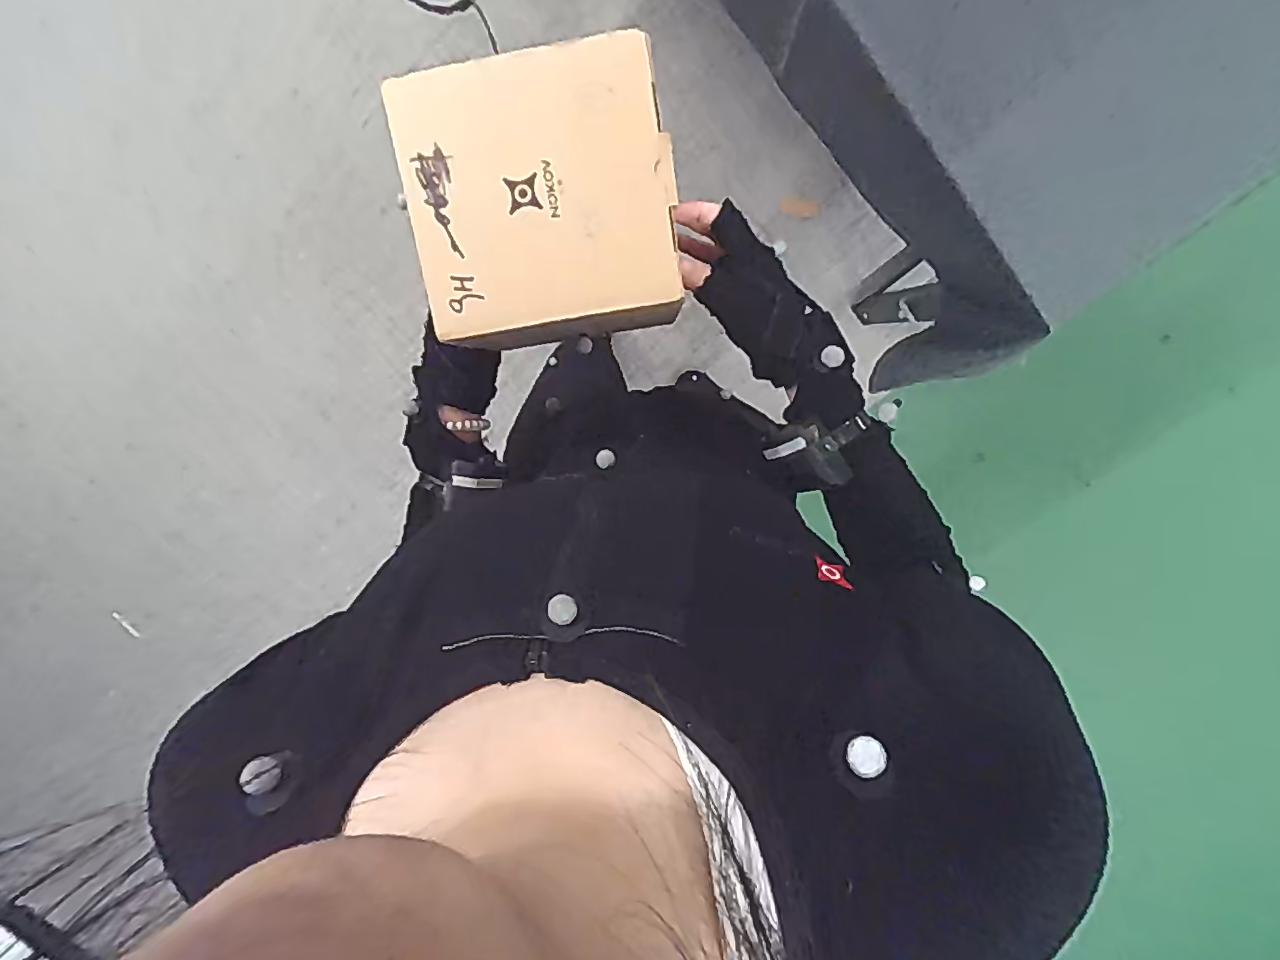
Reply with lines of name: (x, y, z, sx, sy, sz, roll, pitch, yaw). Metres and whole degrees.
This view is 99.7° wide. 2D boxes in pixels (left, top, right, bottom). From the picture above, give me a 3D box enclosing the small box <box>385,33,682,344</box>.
small box: (-0.069, -0.208, 0.437, 0.179, 0.176, 0.168, -8, 100, 1)
